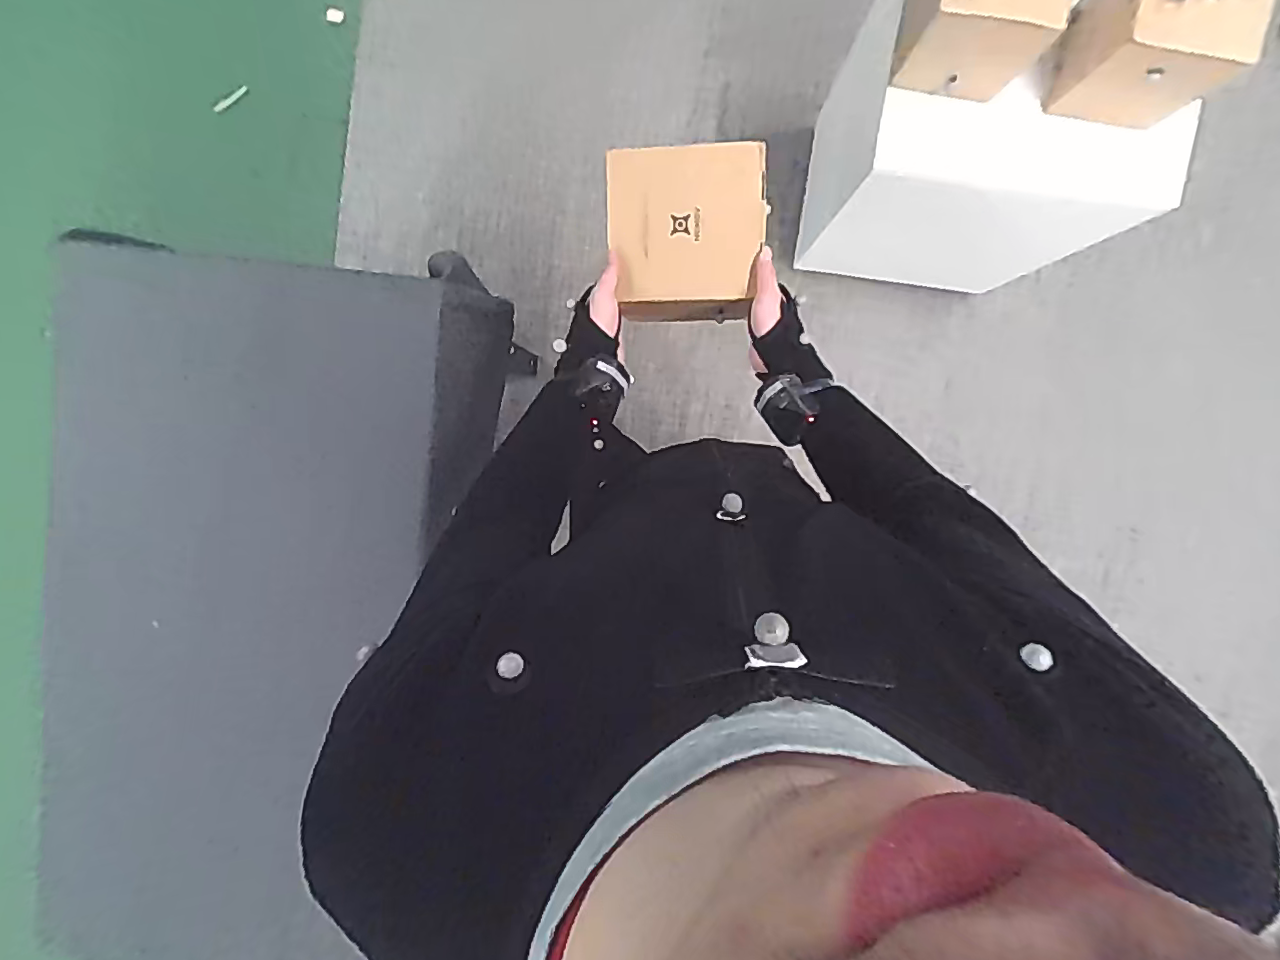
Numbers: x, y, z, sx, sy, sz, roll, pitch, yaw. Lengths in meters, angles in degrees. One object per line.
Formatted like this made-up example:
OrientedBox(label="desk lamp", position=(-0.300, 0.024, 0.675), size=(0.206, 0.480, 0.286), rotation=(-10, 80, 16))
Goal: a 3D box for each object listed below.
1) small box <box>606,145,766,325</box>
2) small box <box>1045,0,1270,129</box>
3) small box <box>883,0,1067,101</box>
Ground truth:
OrientedBox(label="small box", position=(0.058, -0.290, 0.675), size=(0.179, 0.176, 0.168), rotation=(1, 98, 8))
OrientedBox(label="small box", position=(0.751, -0.655, 0.797), size=(0.179, 0.176, 0.168), rotation=(11, 95, 0))
OrientedBox(label="small box", position=(0.496, -0.703, 0.802), size=(0.179, 0.176, 0.168), rotation=(9, 95, 0))
